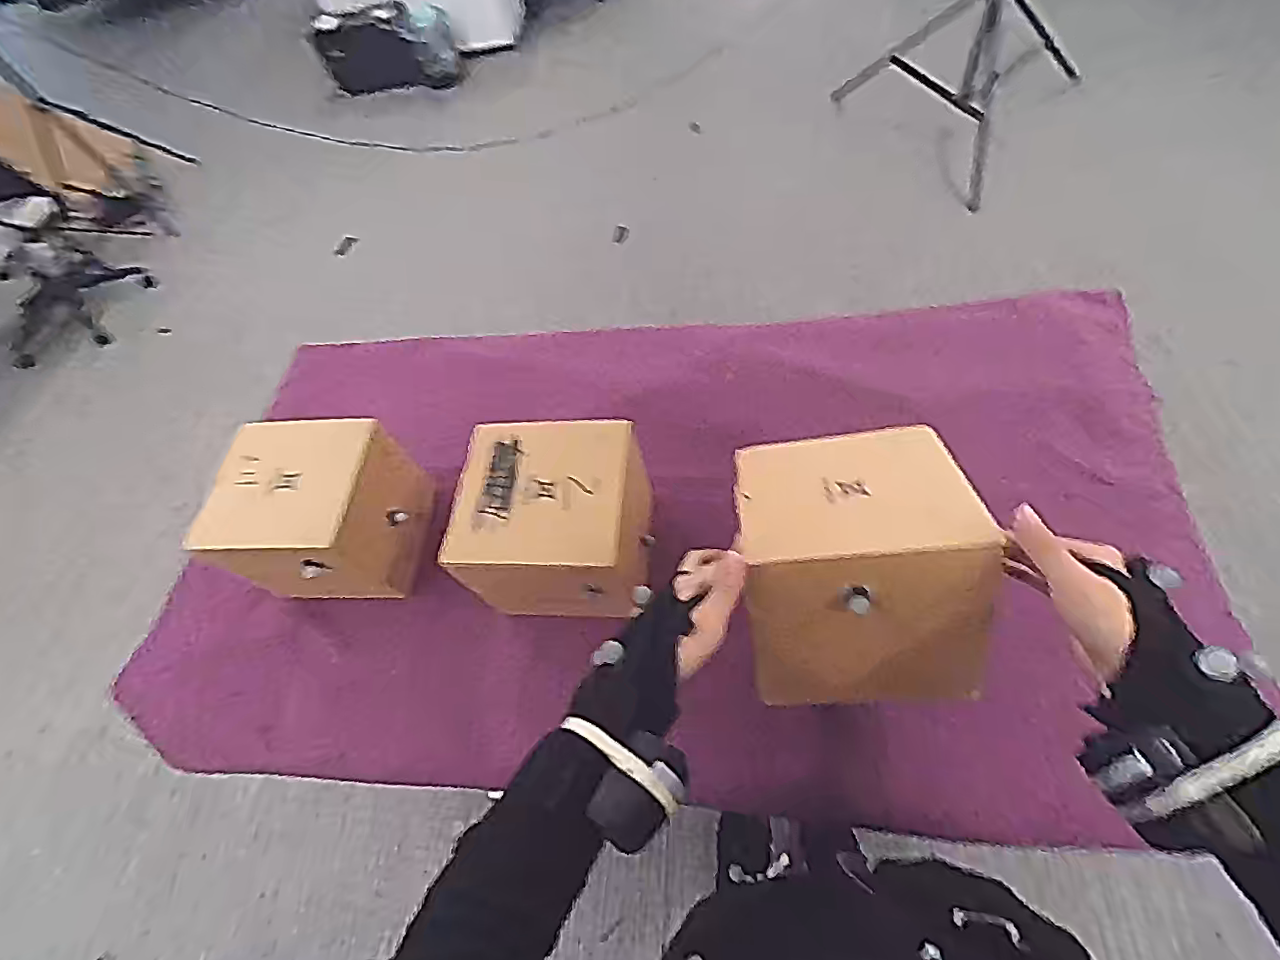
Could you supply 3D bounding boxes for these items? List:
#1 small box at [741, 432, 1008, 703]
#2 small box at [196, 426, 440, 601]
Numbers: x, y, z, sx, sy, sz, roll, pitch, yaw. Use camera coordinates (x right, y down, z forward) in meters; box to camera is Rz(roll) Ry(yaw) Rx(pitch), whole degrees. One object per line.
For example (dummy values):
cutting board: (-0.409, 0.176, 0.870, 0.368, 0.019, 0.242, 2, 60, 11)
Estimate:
small box: (0.189, 0.079, 0.483, 0.179, 0.176, 0.168, -8, 32, 14)
small box: (-0.380, 0.047, 0.680, 0.179, 0.176, 0.168, -1, 59, 8)
